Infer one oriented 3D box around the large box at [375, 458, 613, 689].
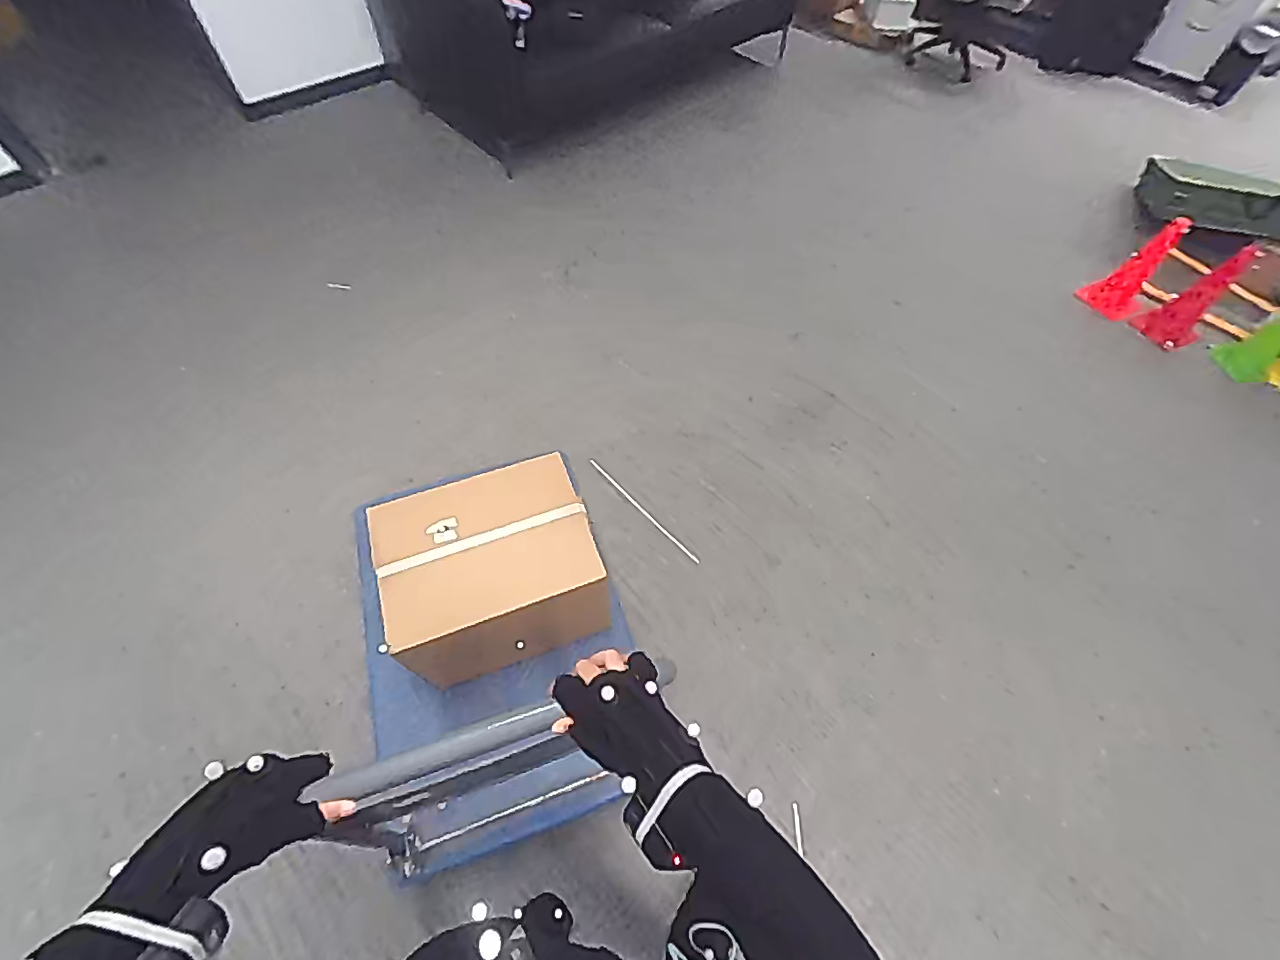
[{"bbox_3d":[-0.301,0.211,1.192,0.408,0.320,0.320,-19,59,-11],"label":"large box"}]
